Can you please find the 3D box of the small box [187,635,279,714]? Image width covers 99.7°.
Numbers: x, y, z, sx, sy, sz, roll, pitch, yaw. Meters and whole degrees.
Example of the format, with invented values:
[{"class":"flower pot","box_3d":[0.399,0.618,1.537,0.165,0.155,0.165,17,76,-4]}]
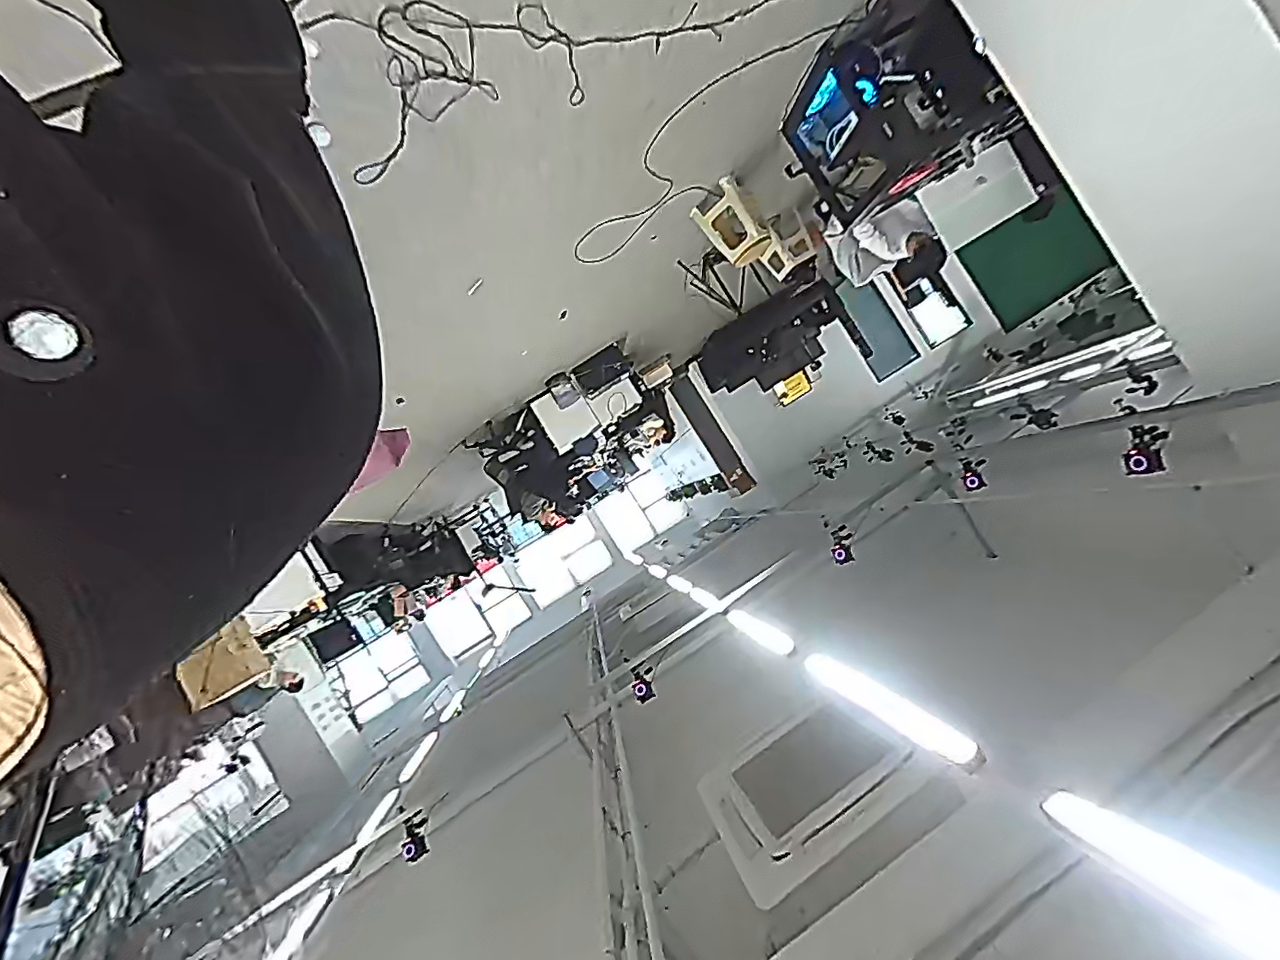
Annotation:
[{"class":"small box","box_3d":[-1.410,0.665,1.868,0.179,0.176,0.168,-33,179,-10]}]
